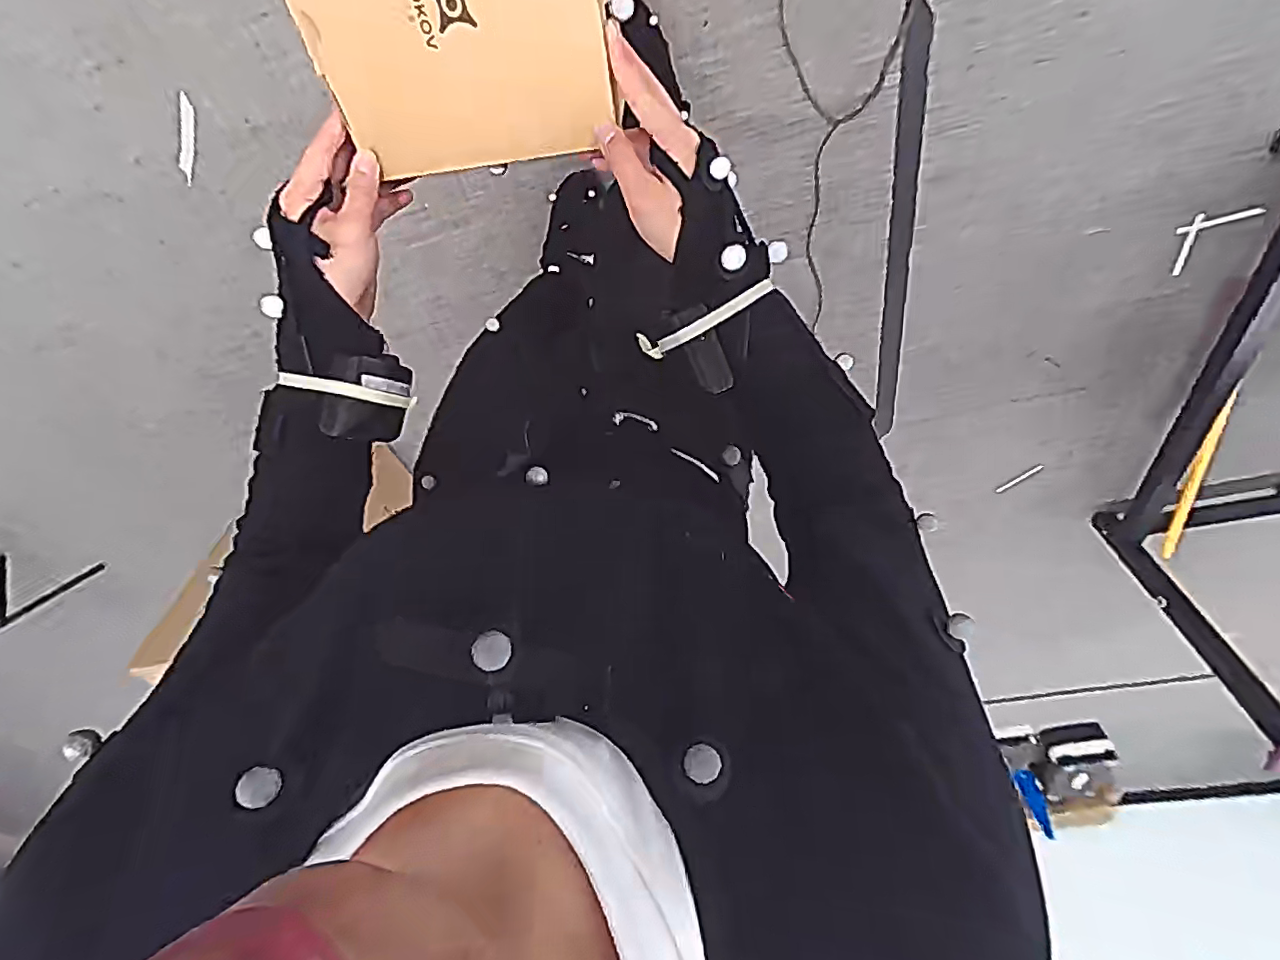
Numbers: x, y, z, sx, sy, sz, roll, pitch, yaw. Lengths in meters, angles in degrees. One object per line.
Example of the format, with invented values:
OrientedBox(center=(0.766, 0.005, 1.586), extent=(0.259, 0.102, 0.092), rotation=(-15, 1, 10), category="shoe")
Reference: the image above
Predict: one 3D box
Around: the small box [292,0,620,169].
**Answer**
OrientedBox(center=(-0.109, -0.333, 0.356), extent=(0.179, 0.176, 0.168), rotation=(-4, 137, 7), category="small box")
